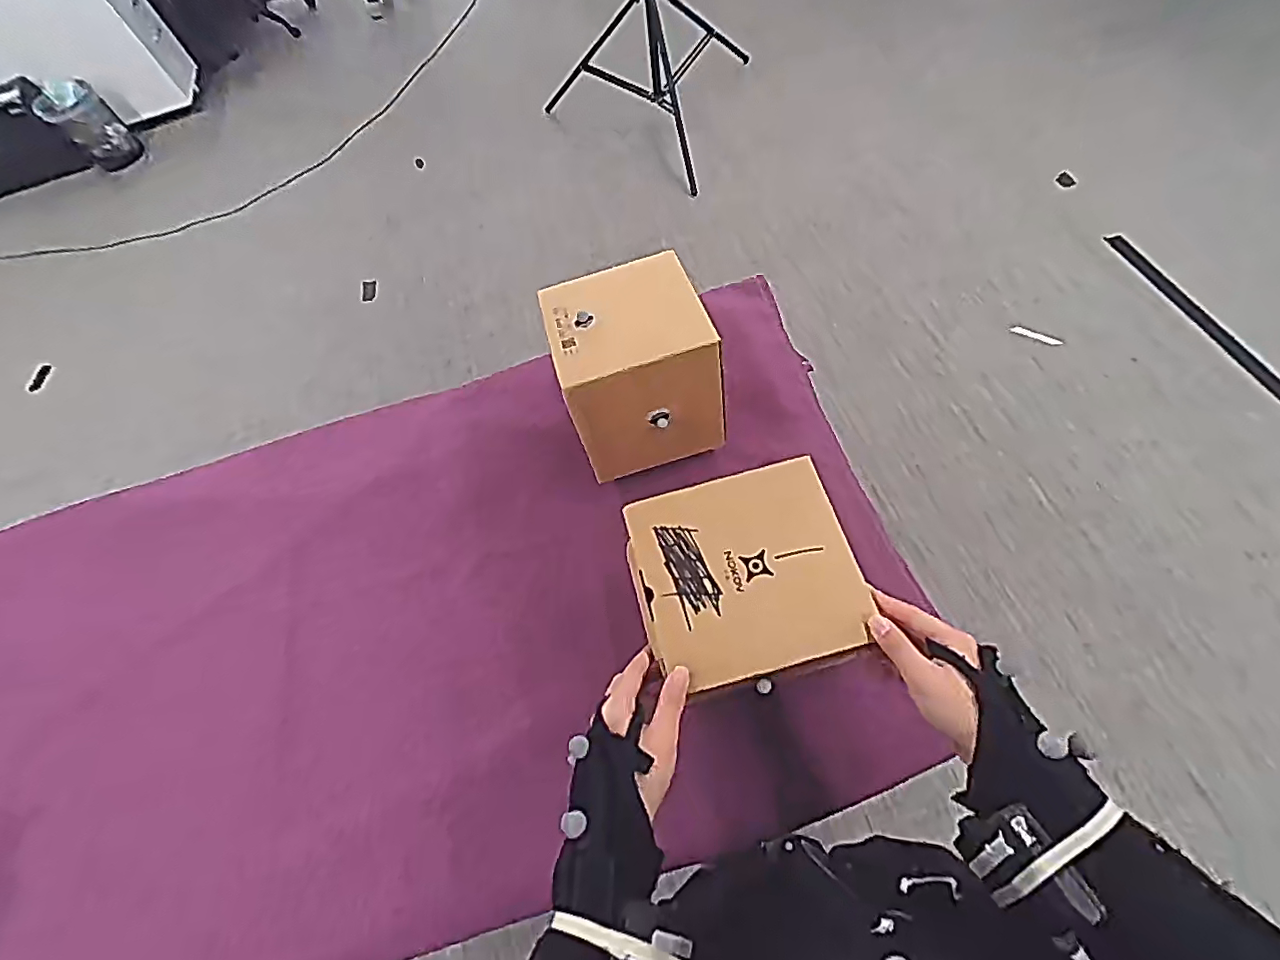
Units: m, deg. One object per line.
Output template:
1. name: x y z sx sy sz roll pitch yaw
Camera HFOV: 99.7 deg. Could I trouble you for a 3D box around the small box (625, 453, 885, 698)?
1. small box: 0.098 0.102 0.517 0.179 0.176 0.168 -16 65 1
